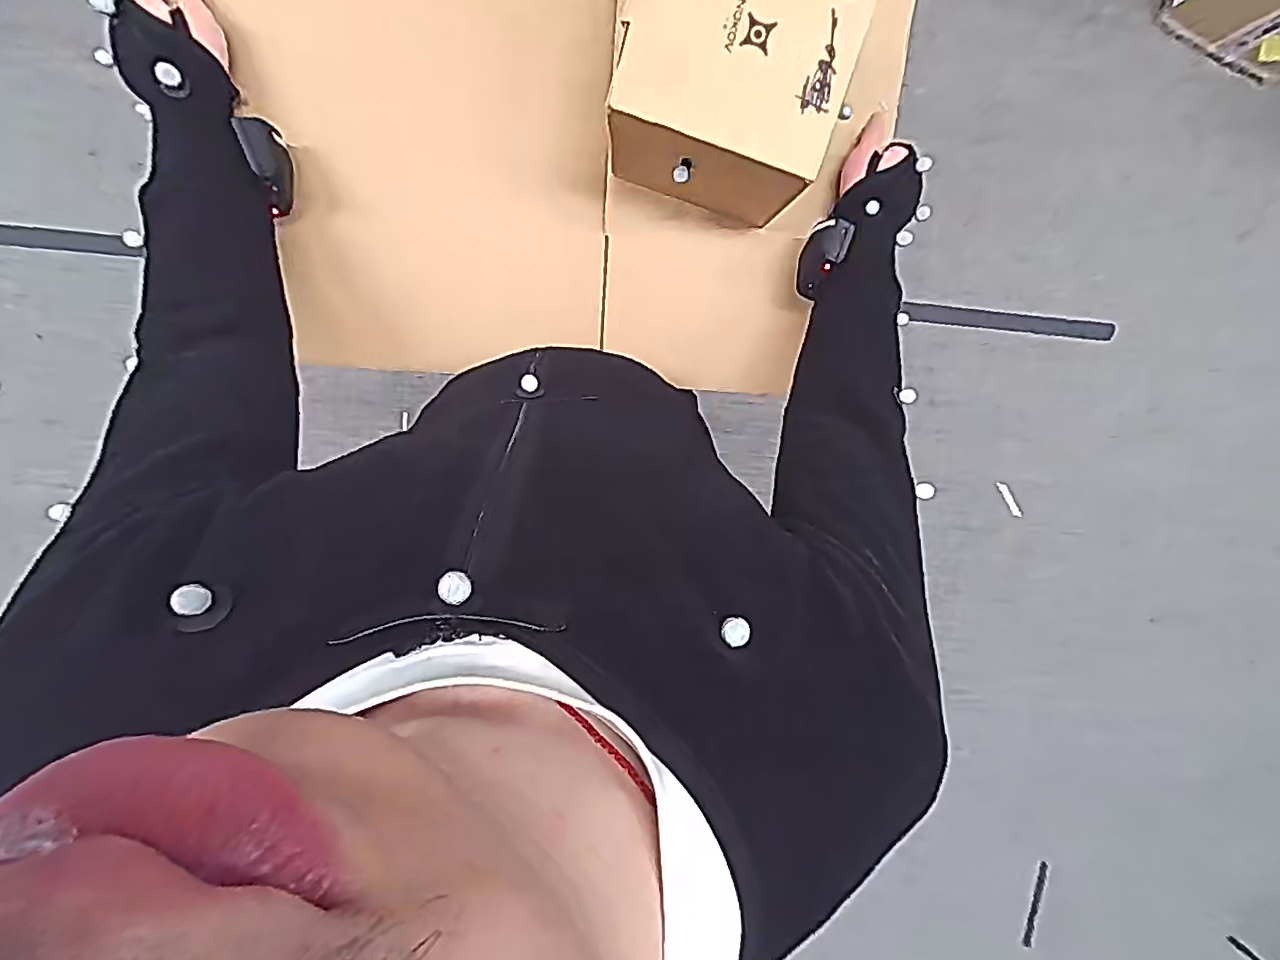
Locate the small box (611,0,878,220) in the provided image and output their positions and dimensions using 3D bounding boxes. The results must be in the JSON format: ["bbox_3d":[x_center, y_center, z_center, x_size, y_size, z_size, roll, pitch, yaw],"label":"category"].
[{"bbox_3d":[0.082,-0.360,0.490,0.179,0.176,0.168,17,102,-5],"label":"small box"}]
